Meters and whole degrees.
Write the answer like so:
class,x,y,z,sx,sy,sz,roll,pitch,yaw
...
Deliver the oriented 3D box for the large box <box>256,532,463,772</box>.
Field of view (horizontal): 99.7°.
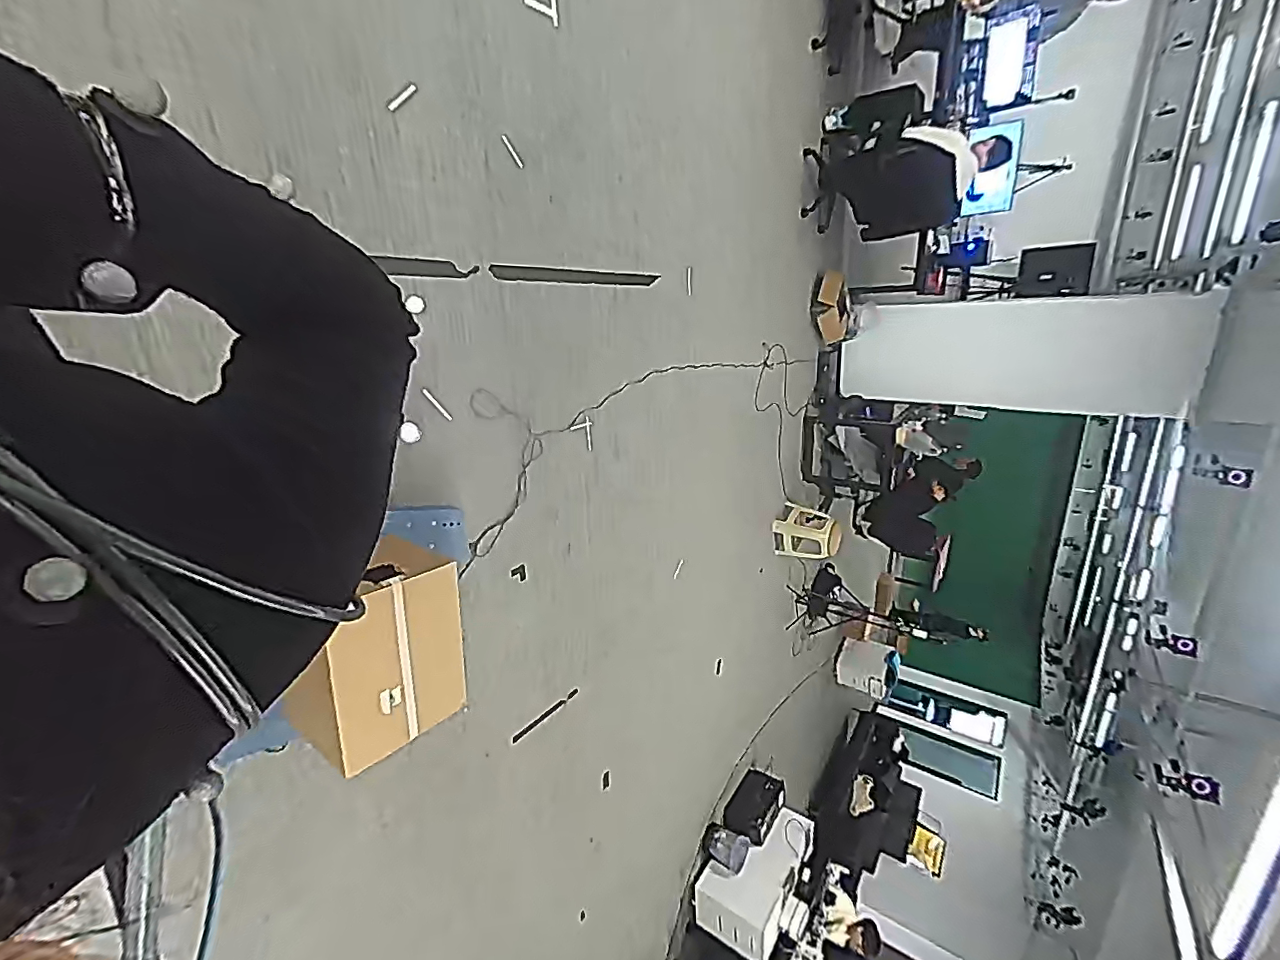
class,x,y,z,sx,sy,sz,roll,pitch,yaw
large box,-0.661,0.381,1.299,0.320,0.320,0.408,-18,114,-52
